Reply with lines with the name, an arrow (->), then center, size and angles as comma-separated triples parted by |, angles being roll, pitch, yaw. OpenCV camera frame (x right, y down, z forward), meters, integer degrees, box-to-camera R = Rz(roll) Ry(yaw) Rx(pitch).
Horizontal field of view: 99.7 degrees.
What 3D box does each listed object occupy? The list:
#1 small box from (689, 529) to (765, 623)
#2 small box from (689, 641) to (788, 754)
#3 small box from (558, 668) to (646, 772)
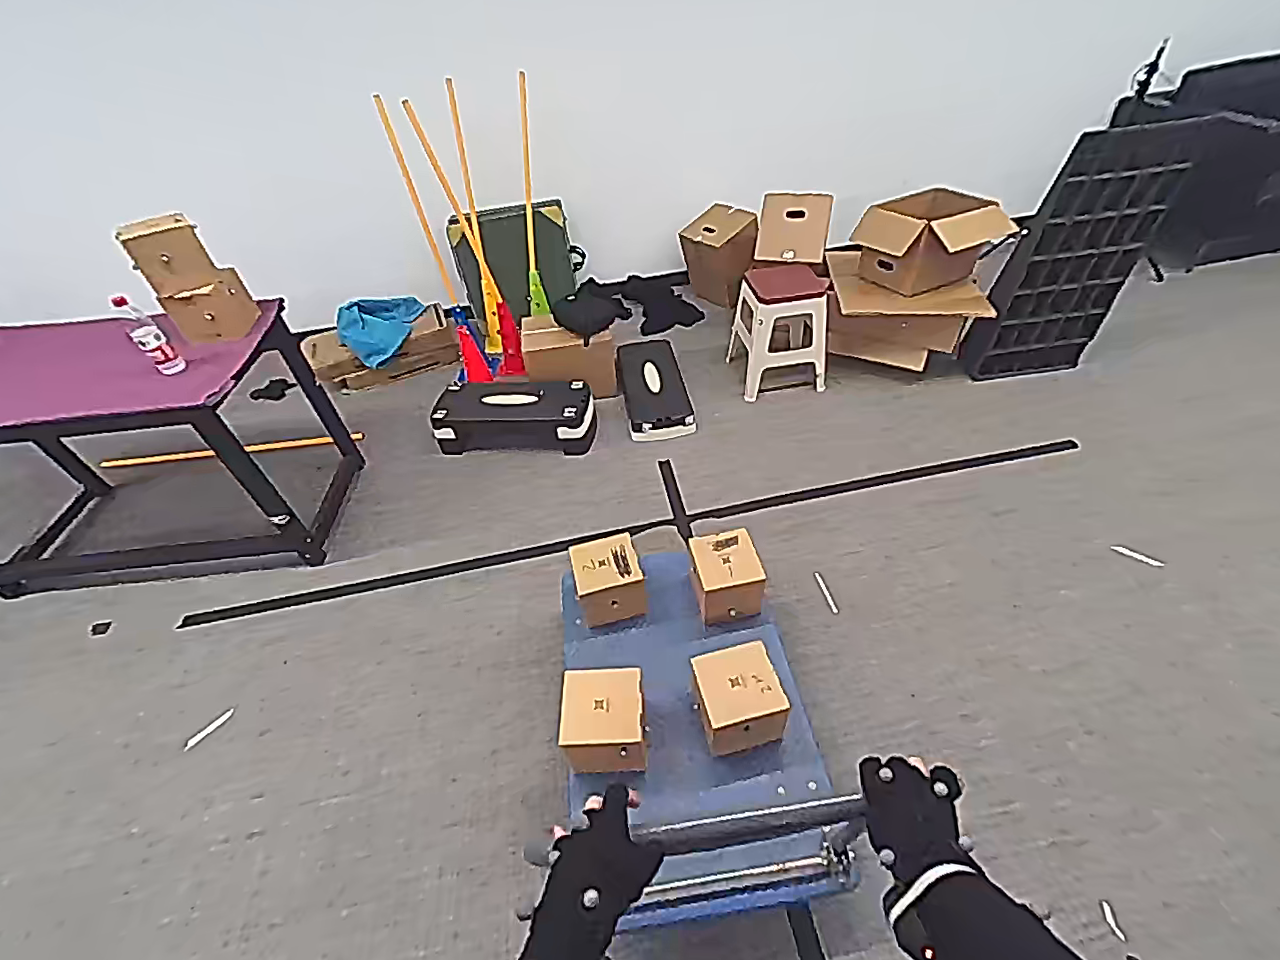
small box -> 0.230, 0.262, 1.479 | 0.168, 0.176, 0.179 | -11, 45, -4
small box -> 0.220, 0.501, 1.237 | 0.179, 0.176, 0.168 | -12, 45, -6
small box -> -0.080, 0.547, 1.225 | 0.179, 0.176, 0.168 | -3, 44, 1
